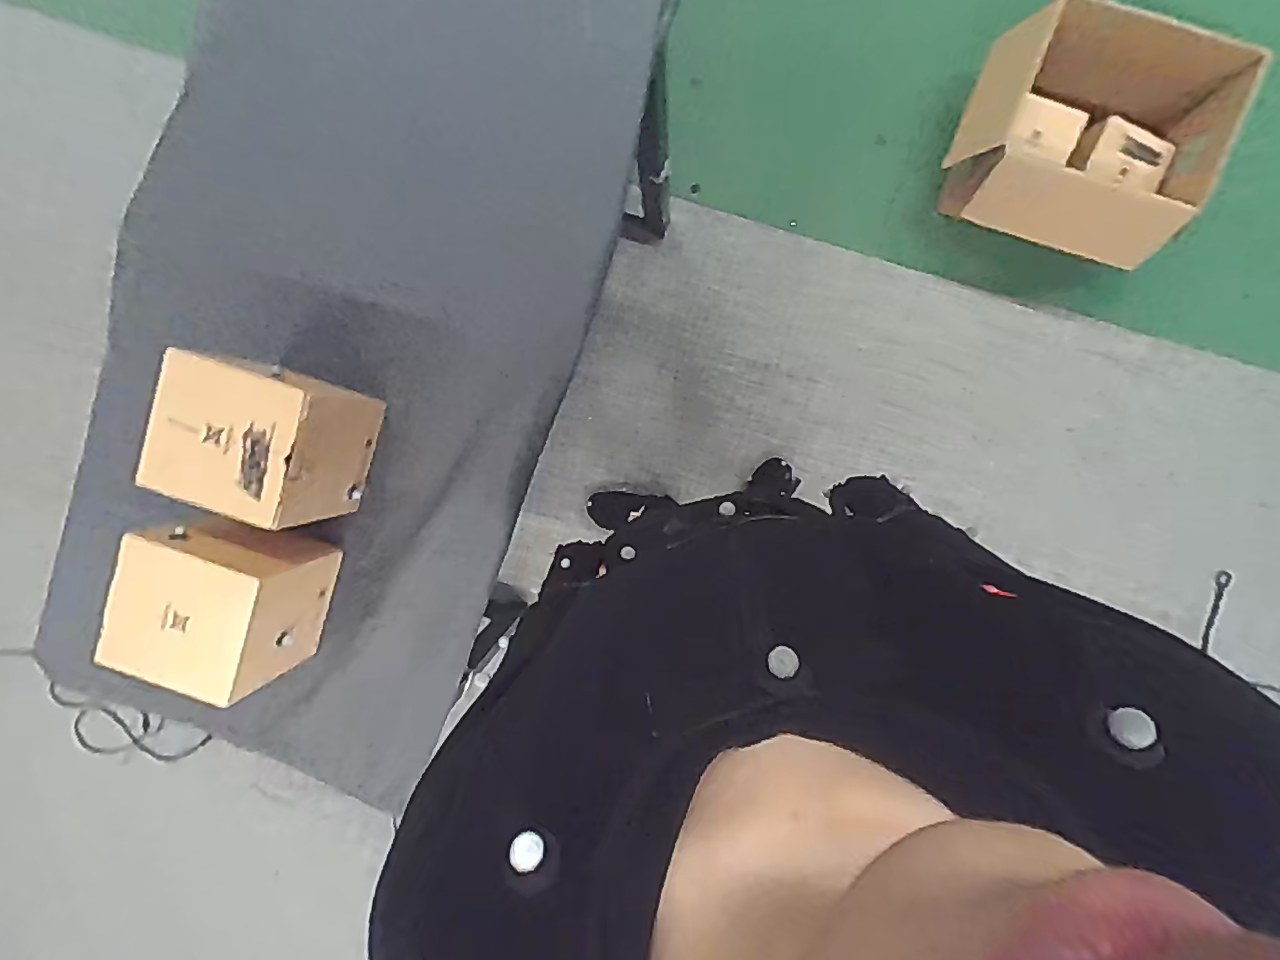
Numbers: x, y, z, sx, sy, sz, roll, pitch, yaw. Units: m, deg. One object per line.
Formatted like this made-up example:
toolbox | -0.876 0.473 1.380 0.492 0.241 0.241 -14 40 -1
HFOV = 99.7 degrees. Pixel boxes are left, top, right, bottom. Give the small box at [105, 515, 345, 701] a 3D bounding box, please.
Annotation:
small box | -0.533 0.155 0.718 0.179 0.176 0.168 18 96 3
